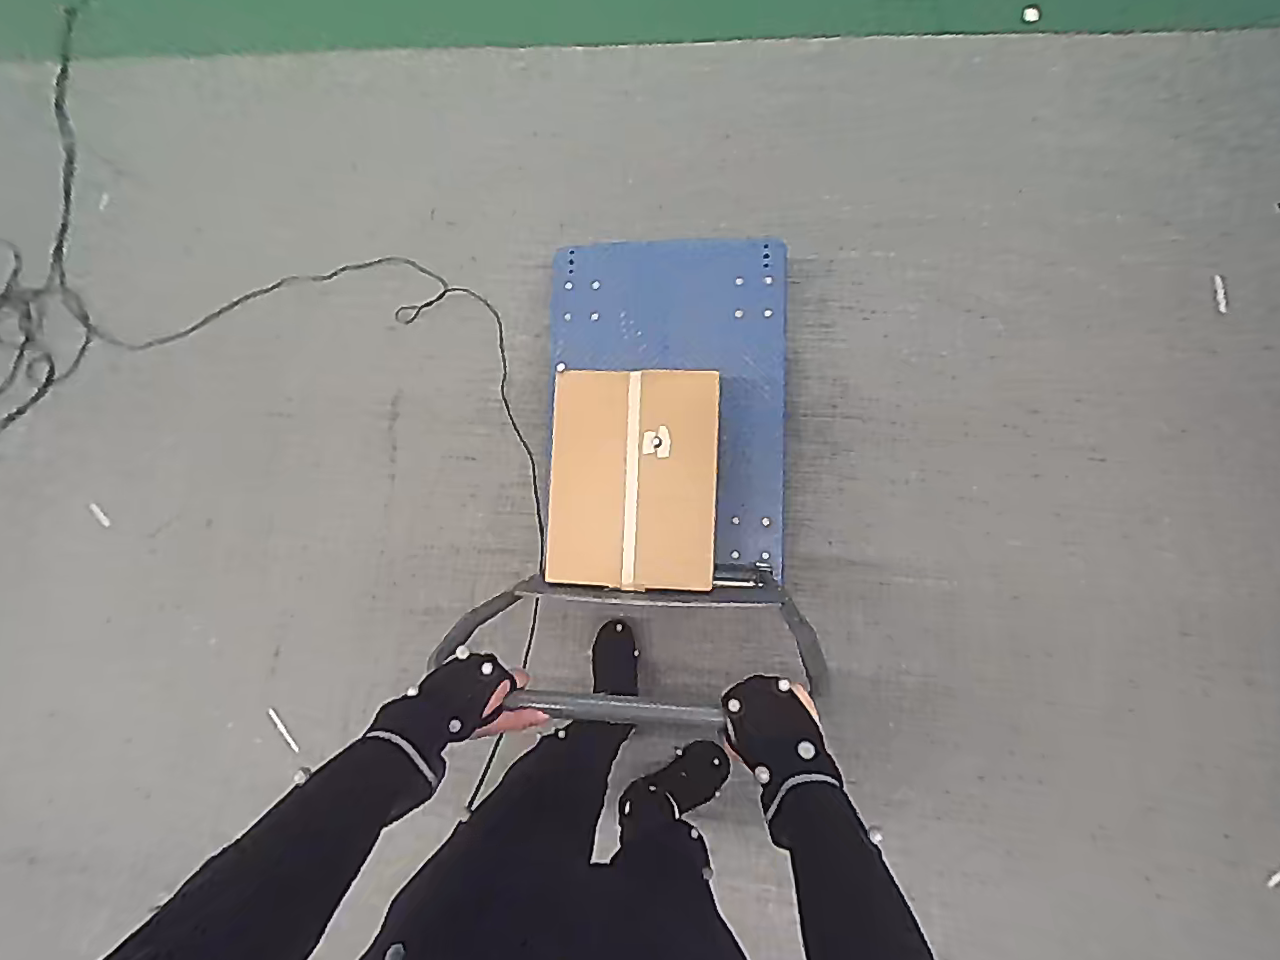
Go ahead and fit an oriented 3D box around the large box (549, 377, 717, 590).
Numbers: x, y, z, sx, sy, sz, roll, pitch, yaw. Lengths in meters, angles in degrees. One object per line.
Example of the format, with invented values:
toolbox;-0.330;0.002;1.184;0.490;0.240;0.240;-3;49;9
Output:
large box;0.005;0.016;1.162;0.320;0.320;0.408;2;85;6
